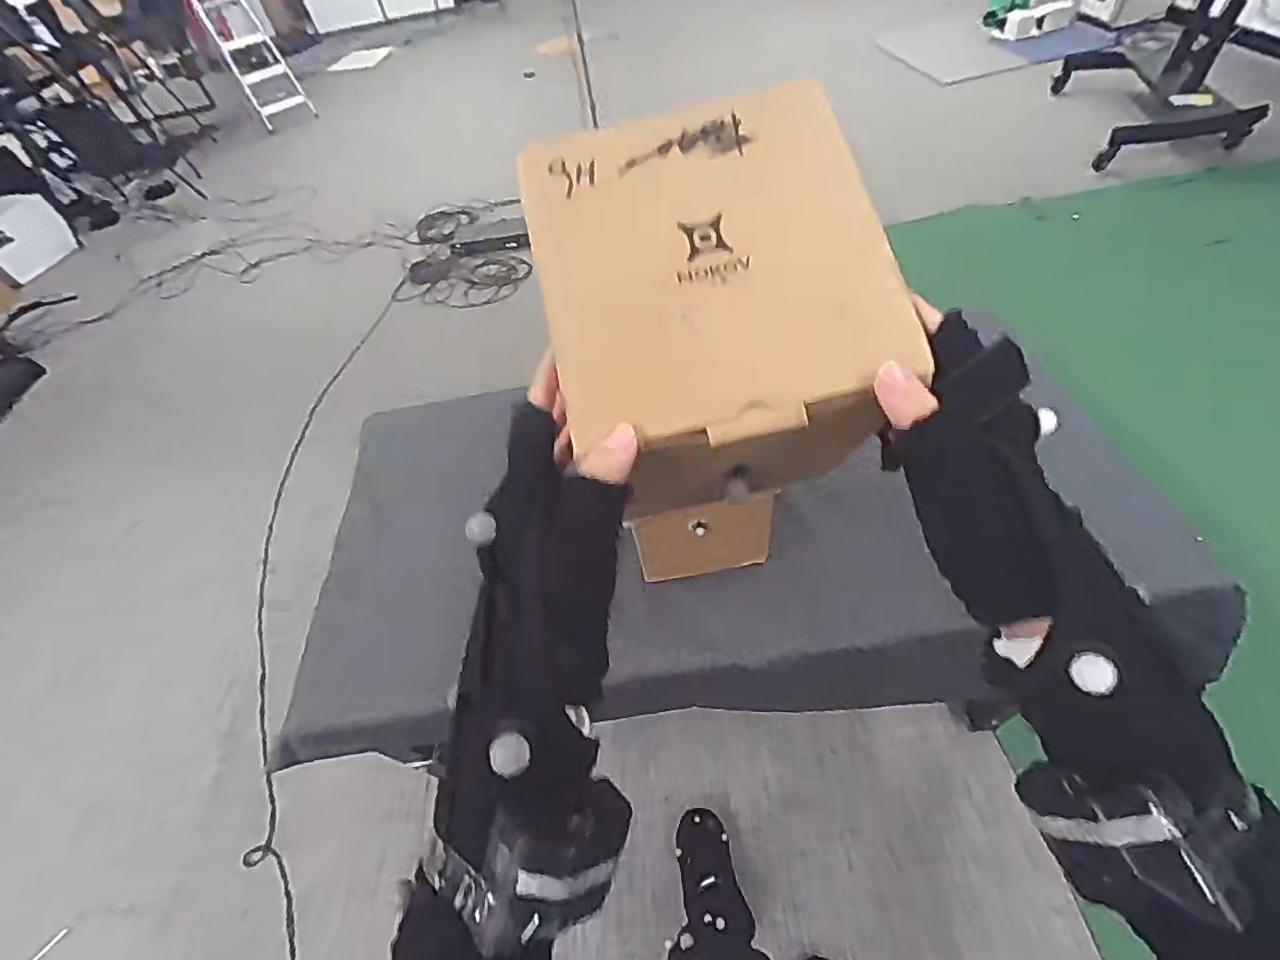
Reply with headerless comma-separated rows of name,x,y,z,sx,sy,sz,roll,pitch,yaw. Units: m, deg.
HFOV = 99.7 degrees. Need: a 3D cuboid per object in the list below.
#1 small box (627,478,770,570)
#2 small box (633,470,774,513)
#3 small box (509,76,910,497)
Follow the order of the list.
small box,0.074,0.010,0.757,0.179,0.176,0.168,-10,53,1
small box,0.059,-0.085,0.623,0.179,0.176,0.168,-13,53,-1
small box,0.032,-0.093,0.341,0.168,0.176,0.179,-13,77,0
